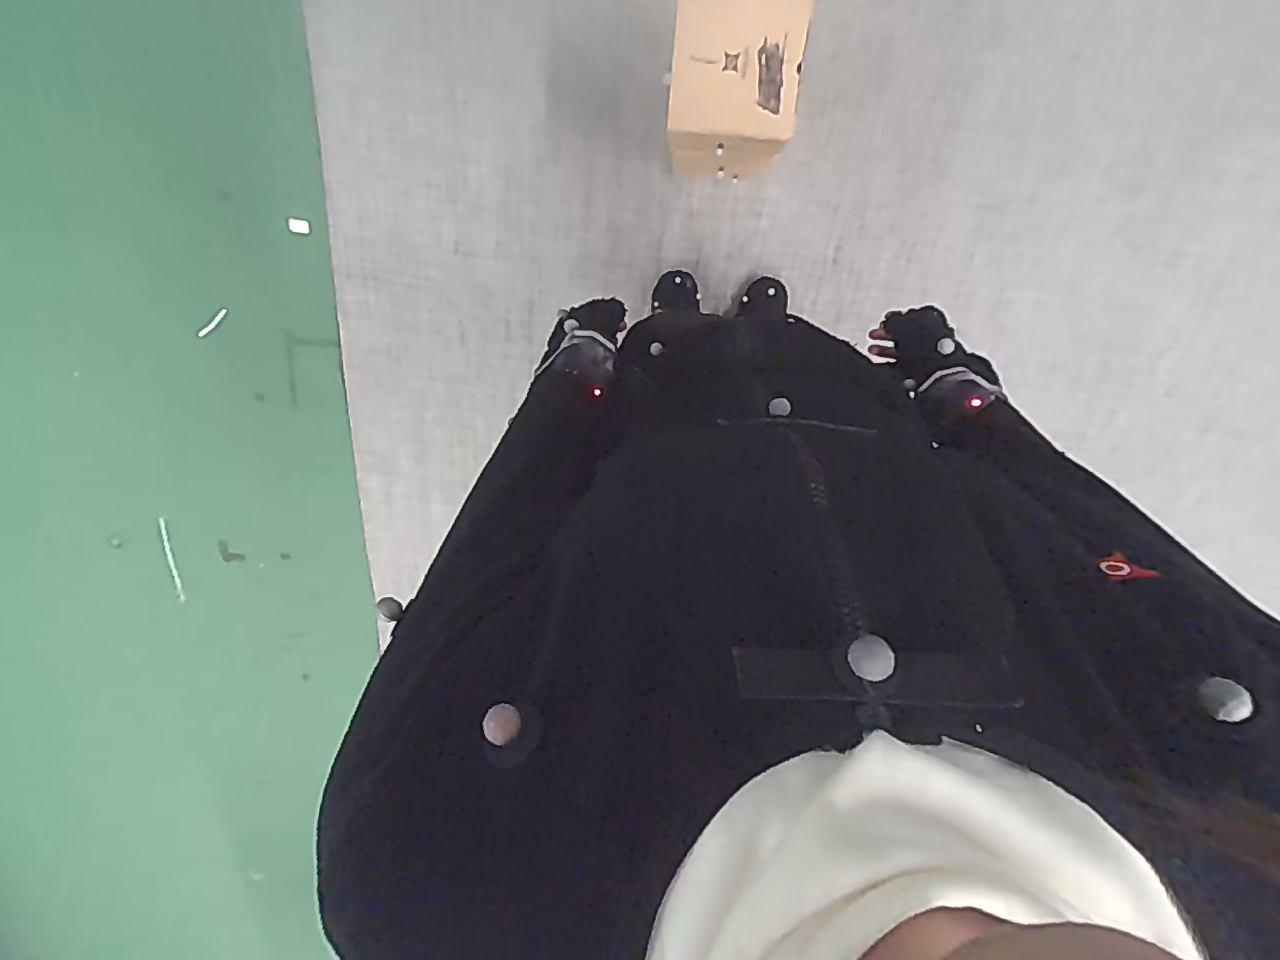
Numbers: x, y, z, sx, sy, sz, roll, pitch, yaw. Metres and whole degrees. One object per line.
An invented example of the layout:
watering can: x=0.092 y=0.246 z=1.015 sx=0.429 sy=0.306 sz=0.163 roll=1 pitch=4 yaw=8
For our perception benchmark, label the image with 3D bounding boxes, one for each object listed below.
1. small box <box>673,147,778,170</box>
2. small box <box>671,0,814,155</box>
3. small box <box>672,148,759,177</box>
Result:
small box: x=0.154 y=-0.650 z=0.946 sx=0.179 sy=0.176 sz=0.168 roll=6 pitch=113 yaw=2
small box: x=0.138 y=-0.587 z=0.795 sx=0.179 sy=0.176 sz=0.168 roll=3 pitch=114 yaw=3
small box: x=0.162 y=-0.720 z=1.095 sx=0.179 sy=0.176 sz=0.168 roll=7 pitch=113 yaw=4
